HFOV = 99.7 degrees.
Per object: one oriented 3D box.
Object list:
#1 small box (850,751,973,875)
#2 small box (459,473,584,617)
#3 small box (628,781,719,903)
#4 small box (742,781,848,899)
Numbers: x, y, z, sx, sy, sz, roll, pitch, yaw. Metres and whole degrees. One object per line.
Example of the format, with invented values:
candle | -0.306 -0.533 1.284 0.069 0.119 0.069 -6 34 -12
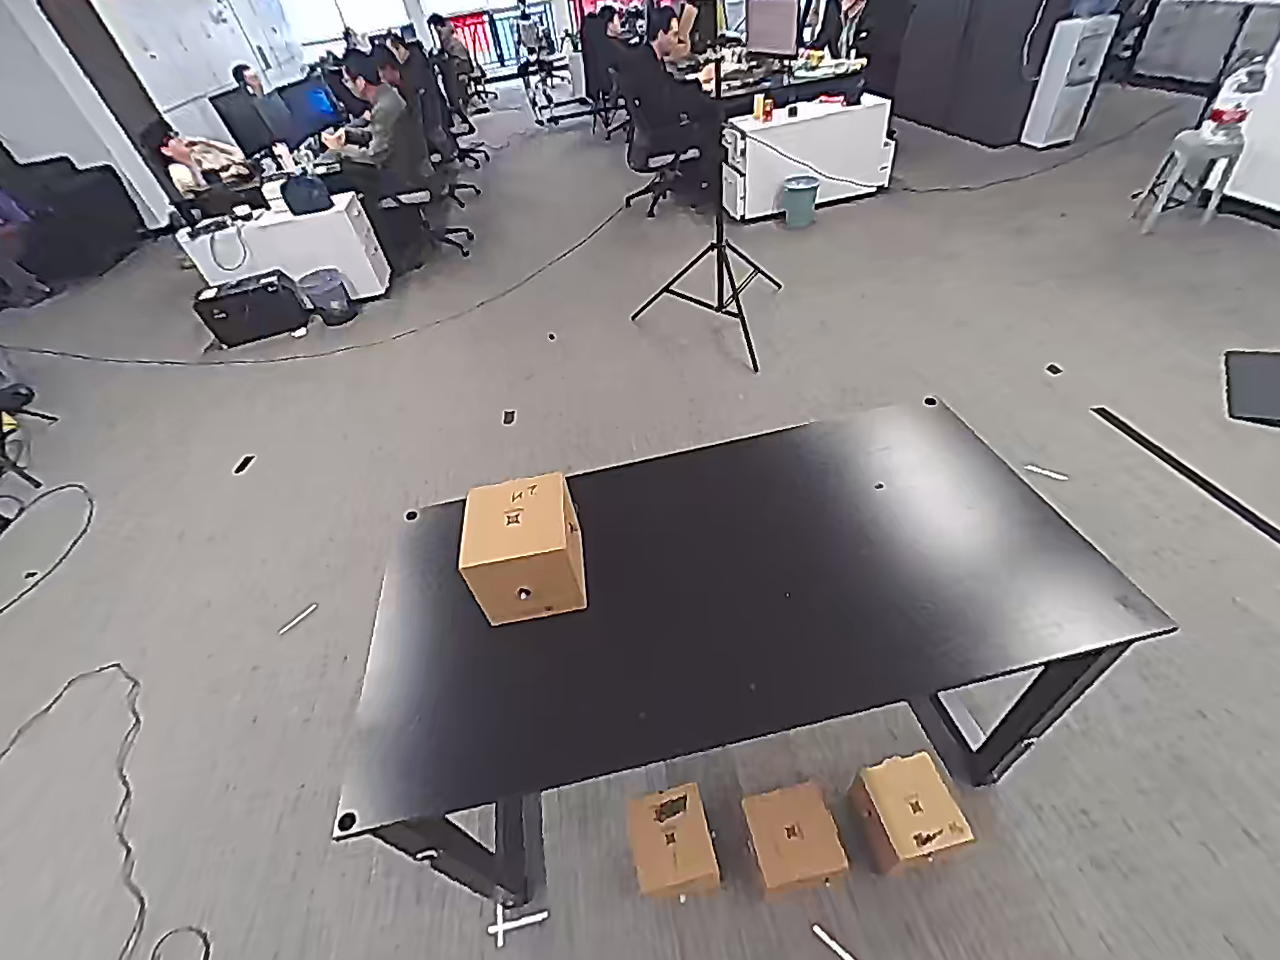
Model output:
small box | 0.587 0.738 1.198 0.168 0.176 0.179 -14 43 -3
small box | -0.194 0.118 0.928 0.168 0.176 0.179 -10 43 -1
small box | 0.075 0.814 1.215 0.168 0.176 0.179 -13 45 -3
small box | 0.330 0.794 1.192 0.179 0.176 0.168 -13 43 -2
